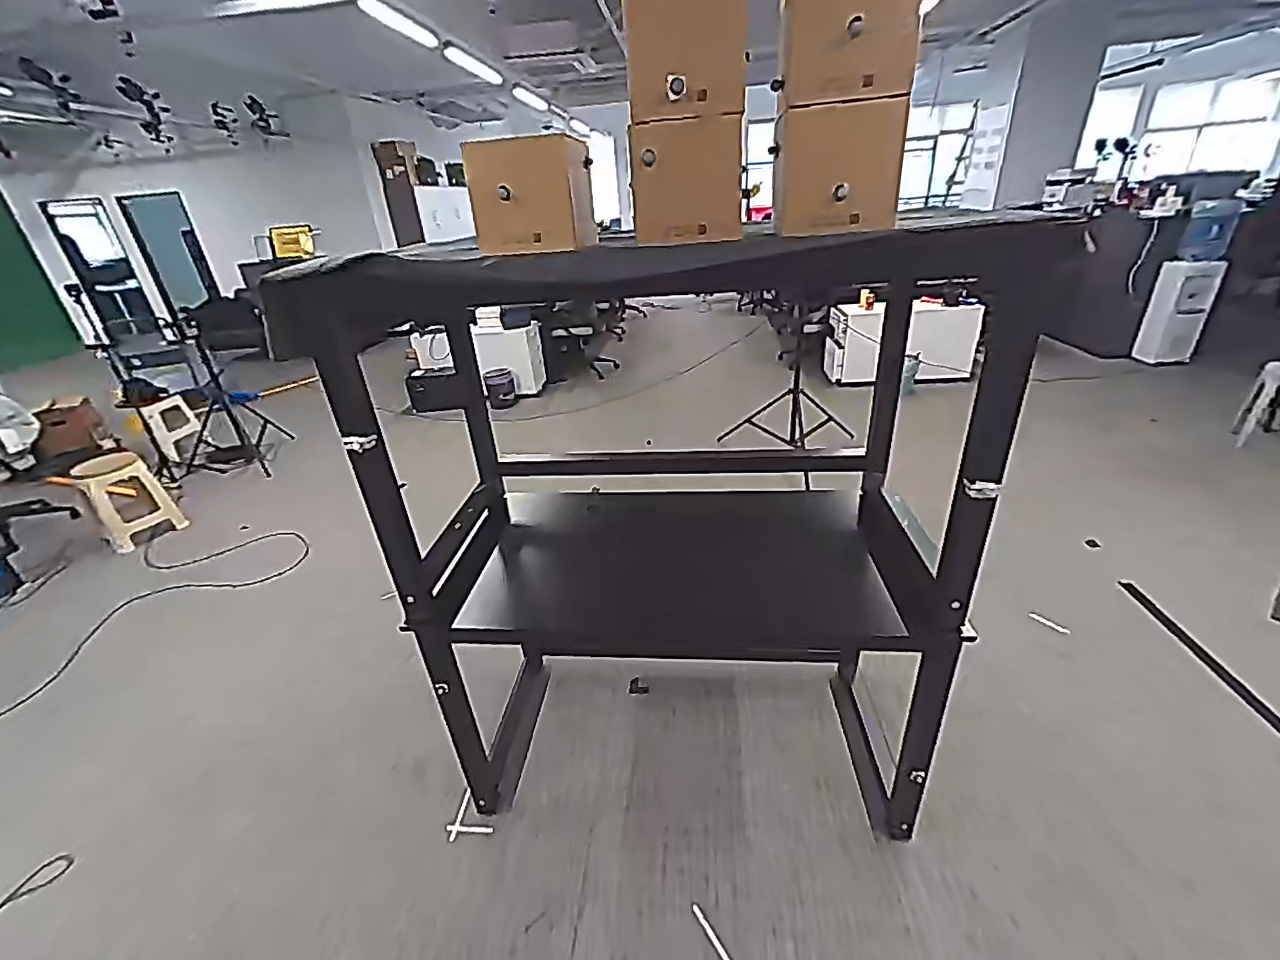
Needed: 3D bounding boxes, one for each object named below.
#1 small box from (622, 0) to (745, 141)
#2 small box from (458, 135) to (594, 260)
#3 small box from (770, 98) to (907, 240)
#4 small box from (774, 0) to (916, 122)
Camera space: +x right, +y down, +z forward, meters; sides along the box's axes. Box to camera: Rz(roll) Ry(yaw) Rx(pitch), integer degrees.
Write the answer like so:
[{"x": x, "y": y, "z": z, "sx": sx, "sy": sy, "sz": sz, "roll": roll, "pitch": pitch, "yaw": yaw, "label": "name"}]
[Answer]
[{"x": 0.068, "y": -0.620, "z": 0.811, "sx": 0.168, "sy": 0.176, "sz": 0.179, "roll": -3, "pitch": 27, "yaw": 7, "label": "small box"}, {"x": -0.180, "y": -0.472, "z": 0.922, "sx": 0.168, "sy": 0.176, "sz": 0.179, "roll": 0, "pitch": 26, "yaw": 9, "label": "small box"}, {"x": 0.295, "y": -0.473, "z": 0.845, "sx": 0.168, "sy": 0.176, "sz": 0.179, "roll": -2, "pitch": 27, "yaw": 9, "label": "small box"}, {"x": 0.284, "y": -0.621, "z": 0.772, "sx": 0.168, "sy": 0.176, "sz": 0.179, "roll": 0, "pitch": 28, "yaw": 9, "label": "small box"}]
